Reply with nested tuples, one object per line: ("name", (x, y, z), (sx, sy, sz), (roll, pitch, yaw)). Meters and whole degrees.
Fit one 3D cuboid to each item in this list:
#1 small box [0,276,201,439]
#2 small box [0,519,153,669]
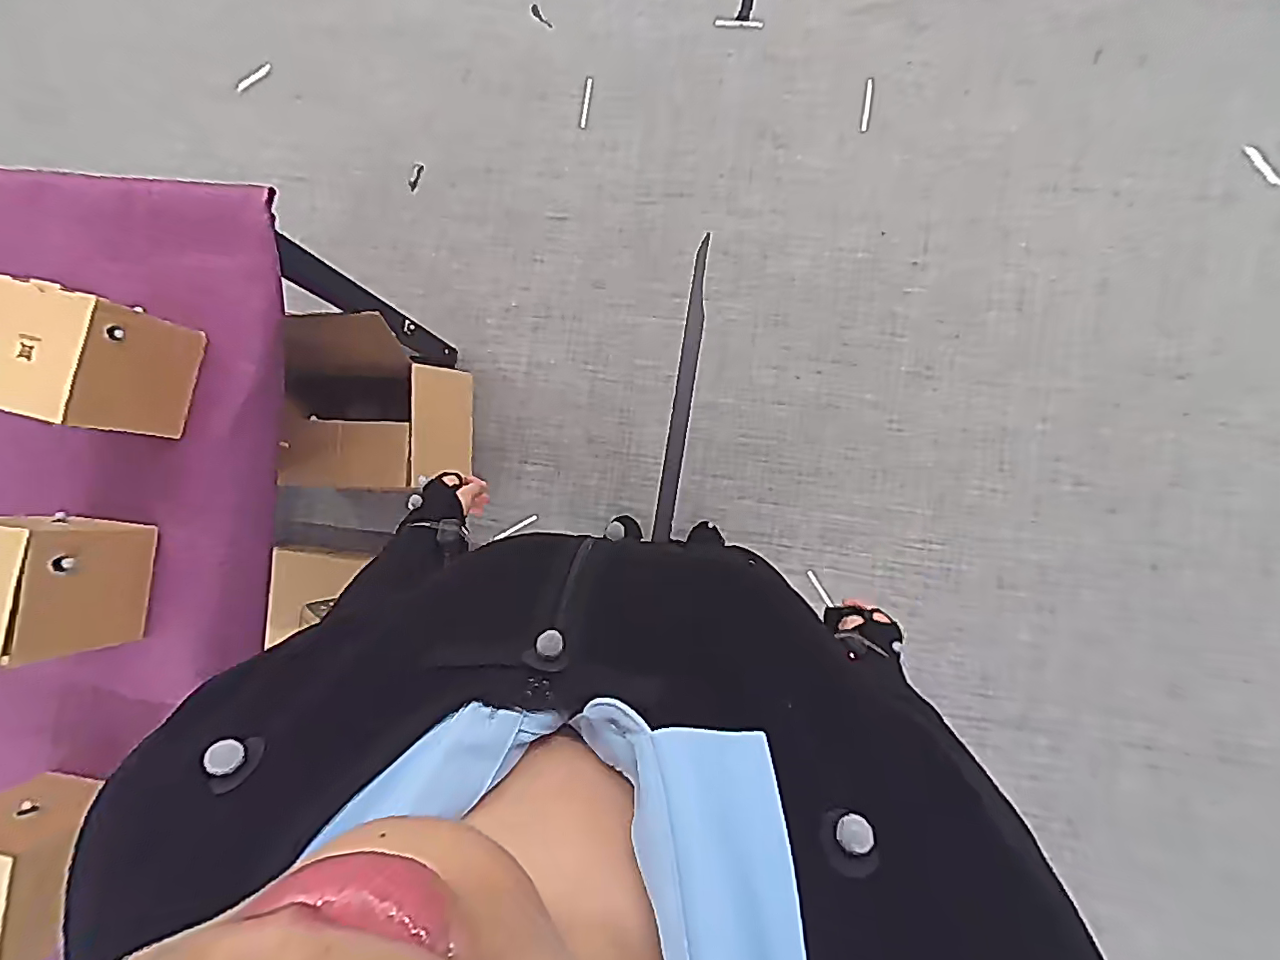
("small box", (-0.791, -0.165, 0.781), (0.168, 0.176, 0.179), (13, 87, 6))
("small box", (-0.848, 0.148, 0.766), (0.168, 0.176, 0.179), (5, 87, 8))
